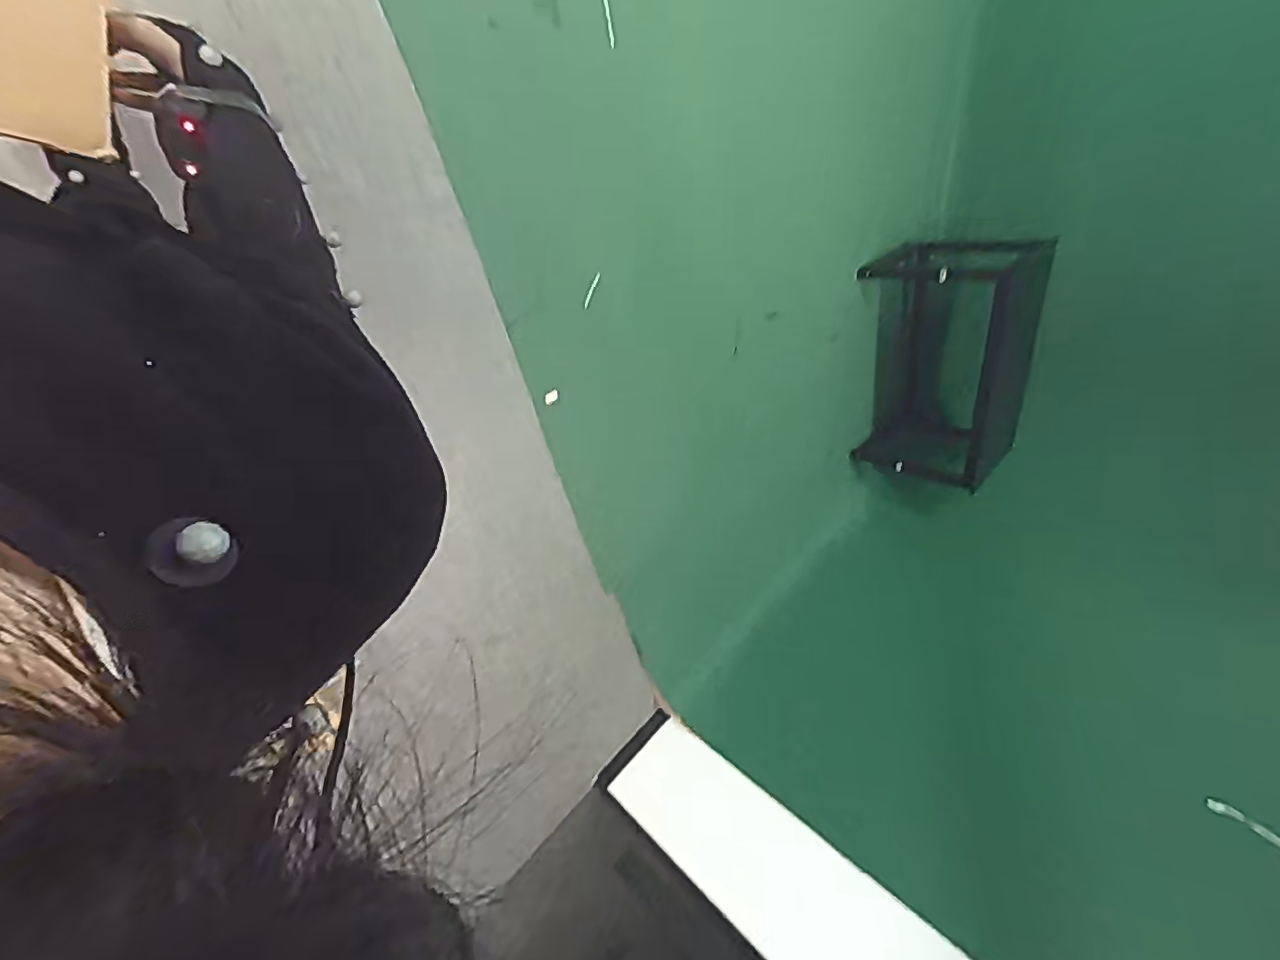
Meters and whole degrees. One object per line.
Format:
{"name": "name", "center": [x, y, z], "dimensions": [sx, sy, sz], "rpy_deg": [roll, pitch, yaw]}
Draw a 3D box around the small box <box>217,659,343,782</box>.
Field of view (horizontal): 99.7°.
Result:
{"name": "small box", "center": [-0.835, 0.544, 1.251], "dimensions": [0.168, 0.176, 0.179], "rpy_deg": [-39, 131, -27]}
